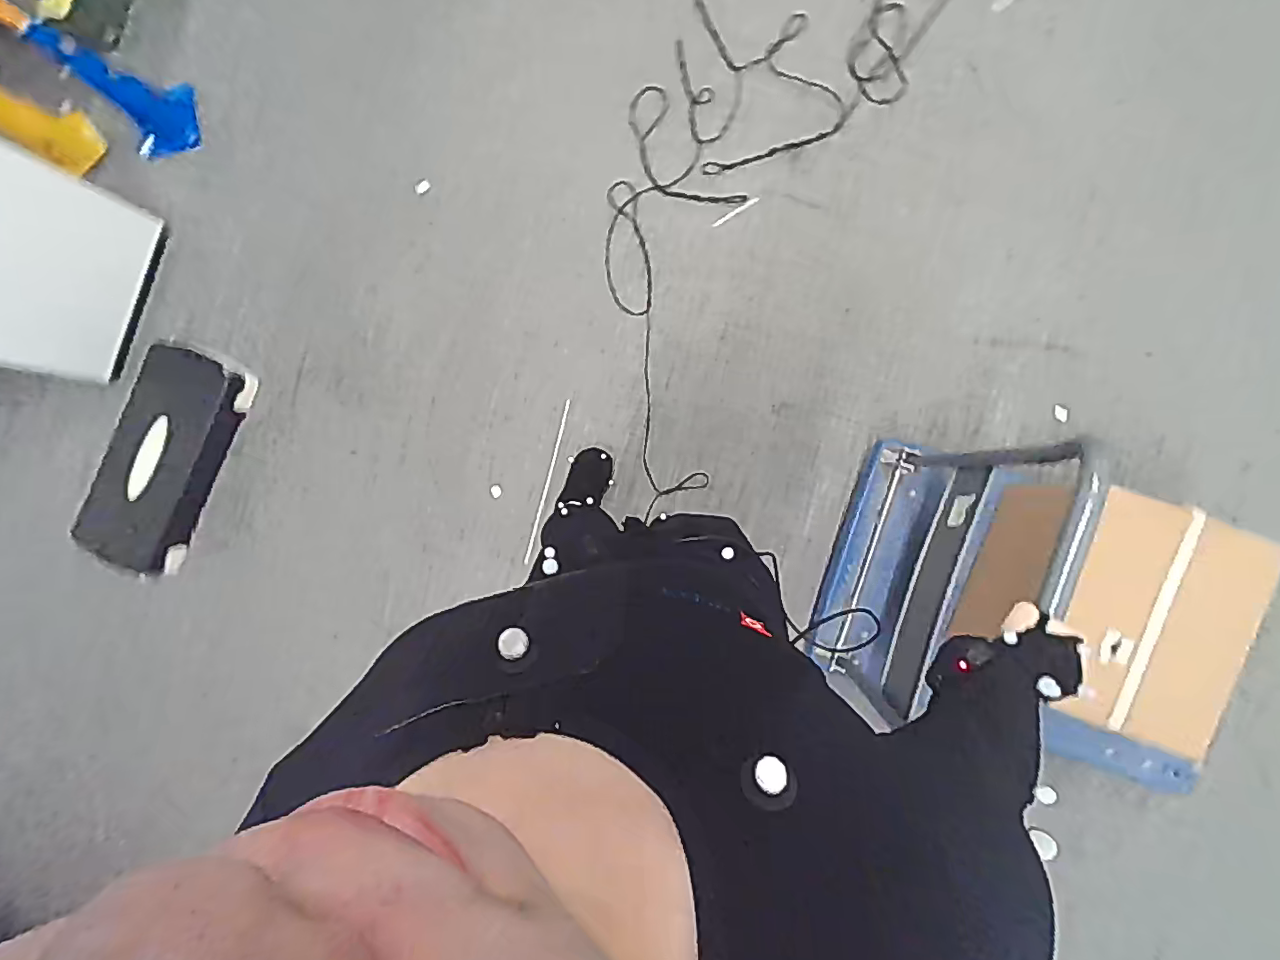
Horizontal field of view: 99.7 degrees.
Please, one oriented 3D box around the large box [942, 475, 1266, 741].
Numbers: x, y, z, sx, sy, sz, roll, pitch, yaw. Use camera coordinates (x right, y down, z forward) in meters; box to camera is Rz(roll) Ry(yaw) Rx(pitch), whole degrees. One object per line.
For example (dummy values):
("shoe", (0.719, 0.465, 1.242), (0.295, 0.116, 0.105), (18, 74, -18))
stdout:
("large box", (0.894, 0.221, 1.102), (0.320, 0.320, 0.408), (20, 92, 6))
